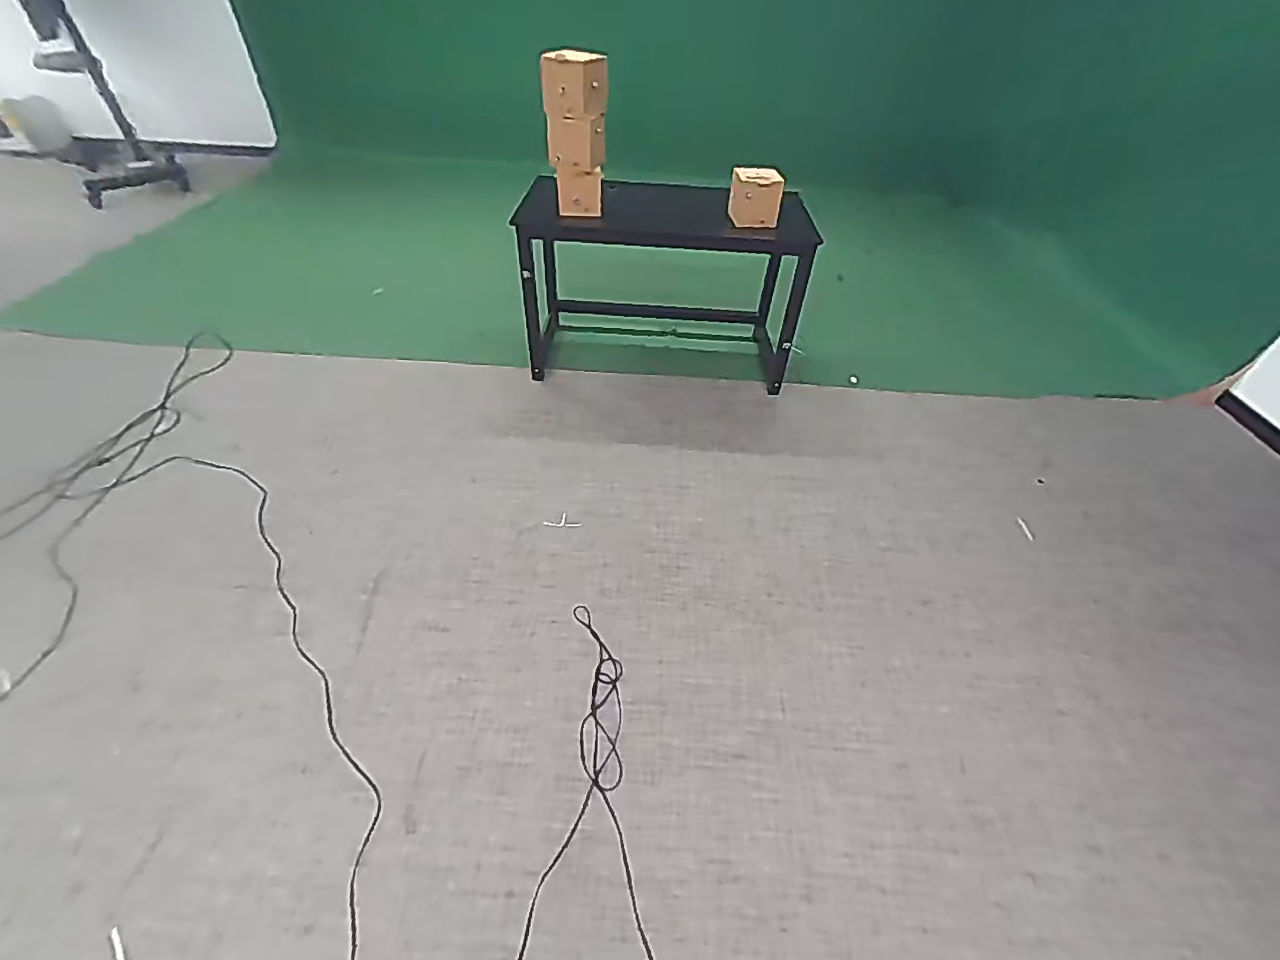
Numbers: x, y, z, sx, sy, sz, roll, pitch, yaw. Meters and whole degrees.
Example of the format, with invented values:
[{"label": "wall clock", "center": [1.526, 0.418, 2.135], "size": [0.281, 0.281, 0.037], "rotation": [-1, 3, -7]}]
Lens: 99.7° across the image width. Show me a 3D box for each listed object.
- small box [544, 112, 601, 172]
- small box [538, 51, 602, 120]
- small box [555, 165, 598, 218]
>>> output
[{"label": "small box", "center": [-0.248, -1.277, 2.032], "size": [0.168, 0.176, 0.179], "rotation": [13, 45, 8]}, {"label": "small box", "center": [-0.242, -1.399, 1.921], "size": [0.168, 0.176, 0.179], "rotation": [21, 48, 15]}, {"label": "small box", "center": [-0.253, -1.160, 2.146], "size": [0.168, 0.176, 0.179], "rotation": [-2, 46, -7]}]
